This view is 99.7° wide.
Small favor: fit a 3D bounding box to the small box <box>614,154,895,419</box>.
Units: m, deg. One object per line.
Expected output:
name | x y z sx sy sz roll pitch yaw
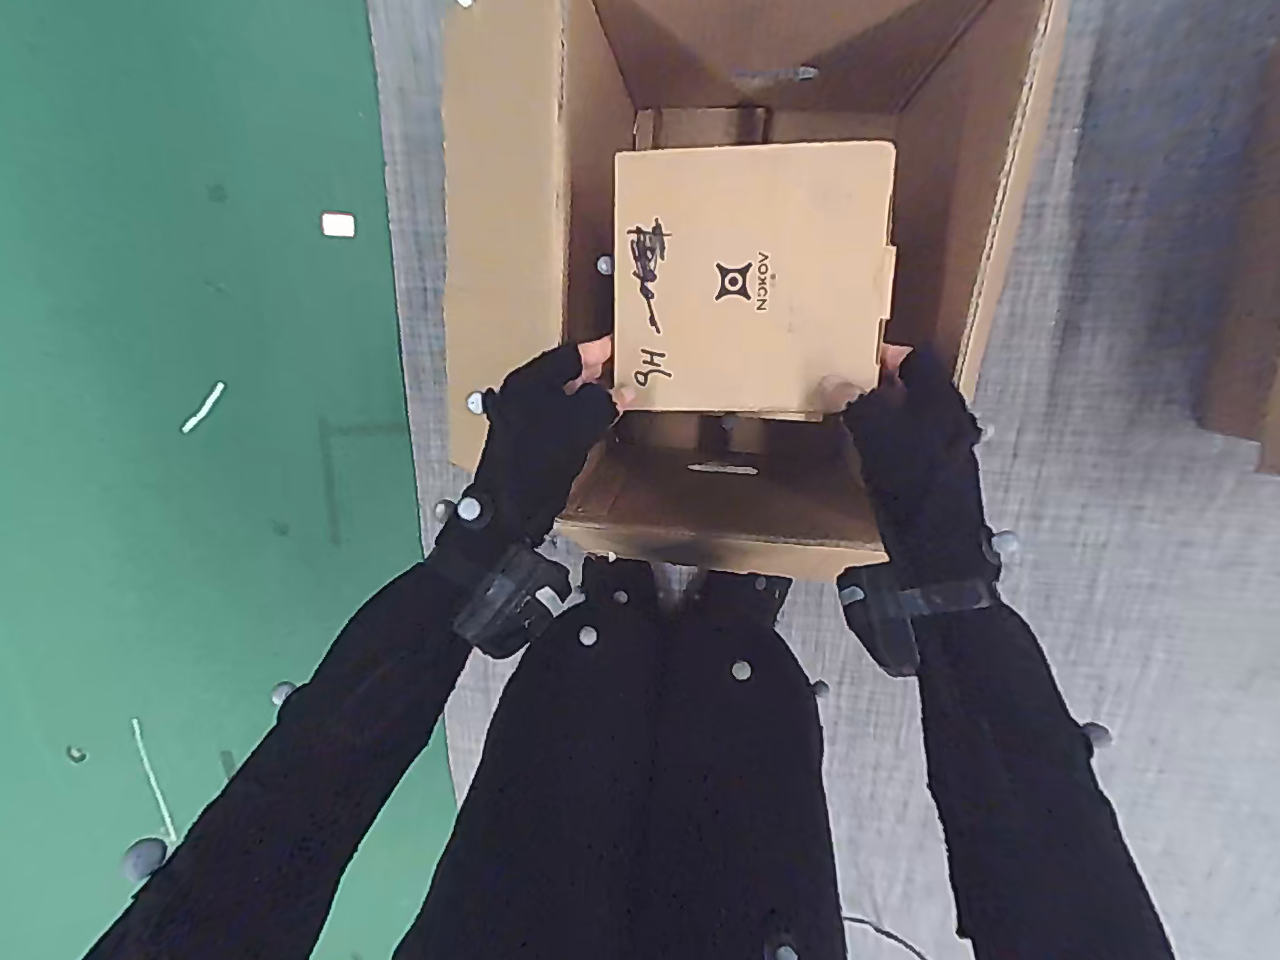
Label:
small box | 0.077 -0.135 0.432 0.179 0.176 0.168 2 96 5
